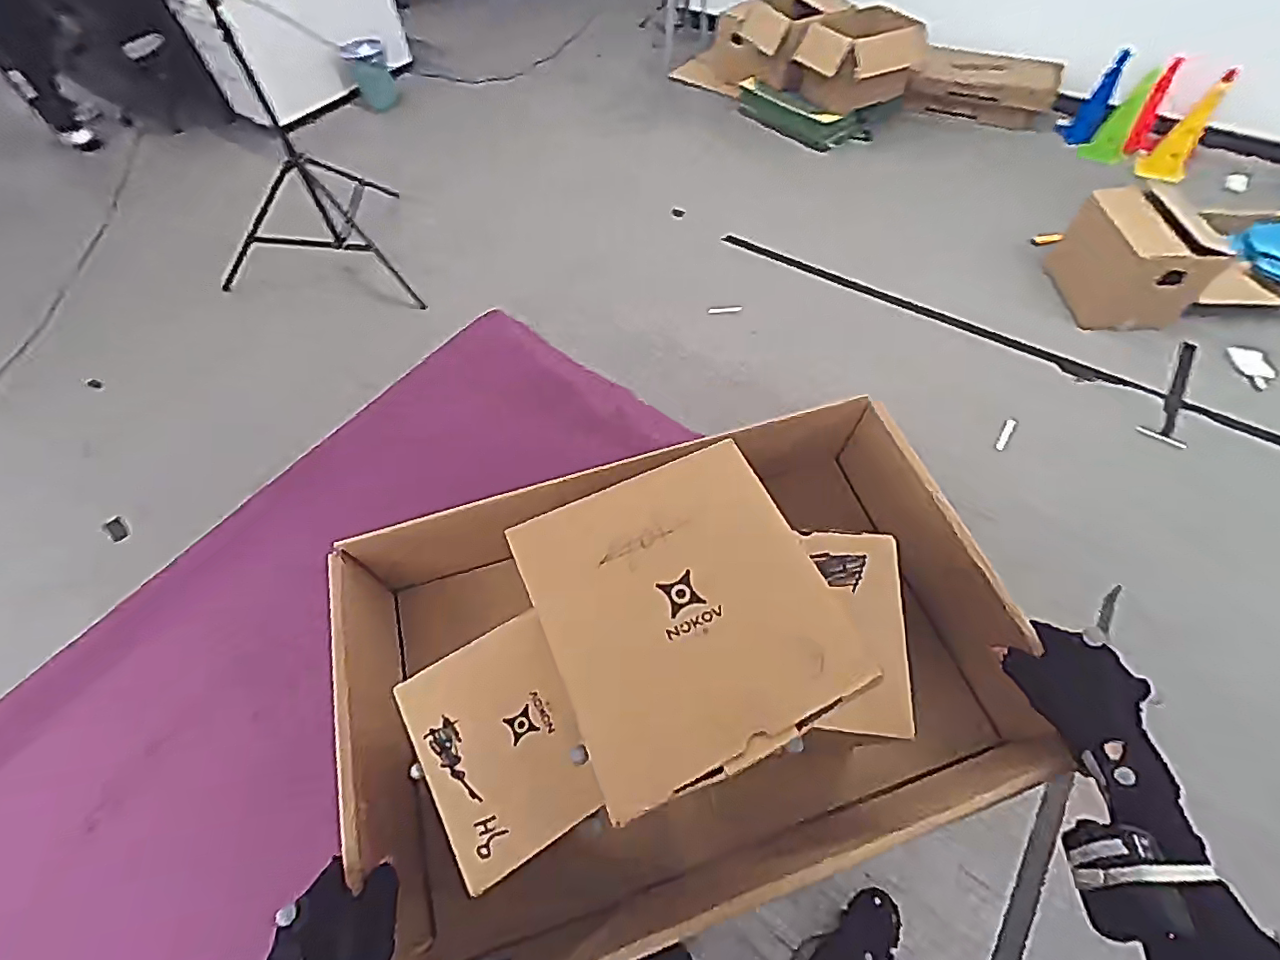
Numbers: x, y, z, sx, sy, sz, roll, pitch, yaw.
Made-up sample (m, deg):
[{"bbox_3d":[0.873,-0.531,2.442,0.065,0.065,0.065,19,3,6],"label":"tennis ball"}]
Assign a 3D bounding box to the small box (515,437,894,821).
[{"bbox_3d":[0.030,0.106,0.381,0.168,0.176,0.179,-22,62,-13],"label":"small box"}]
